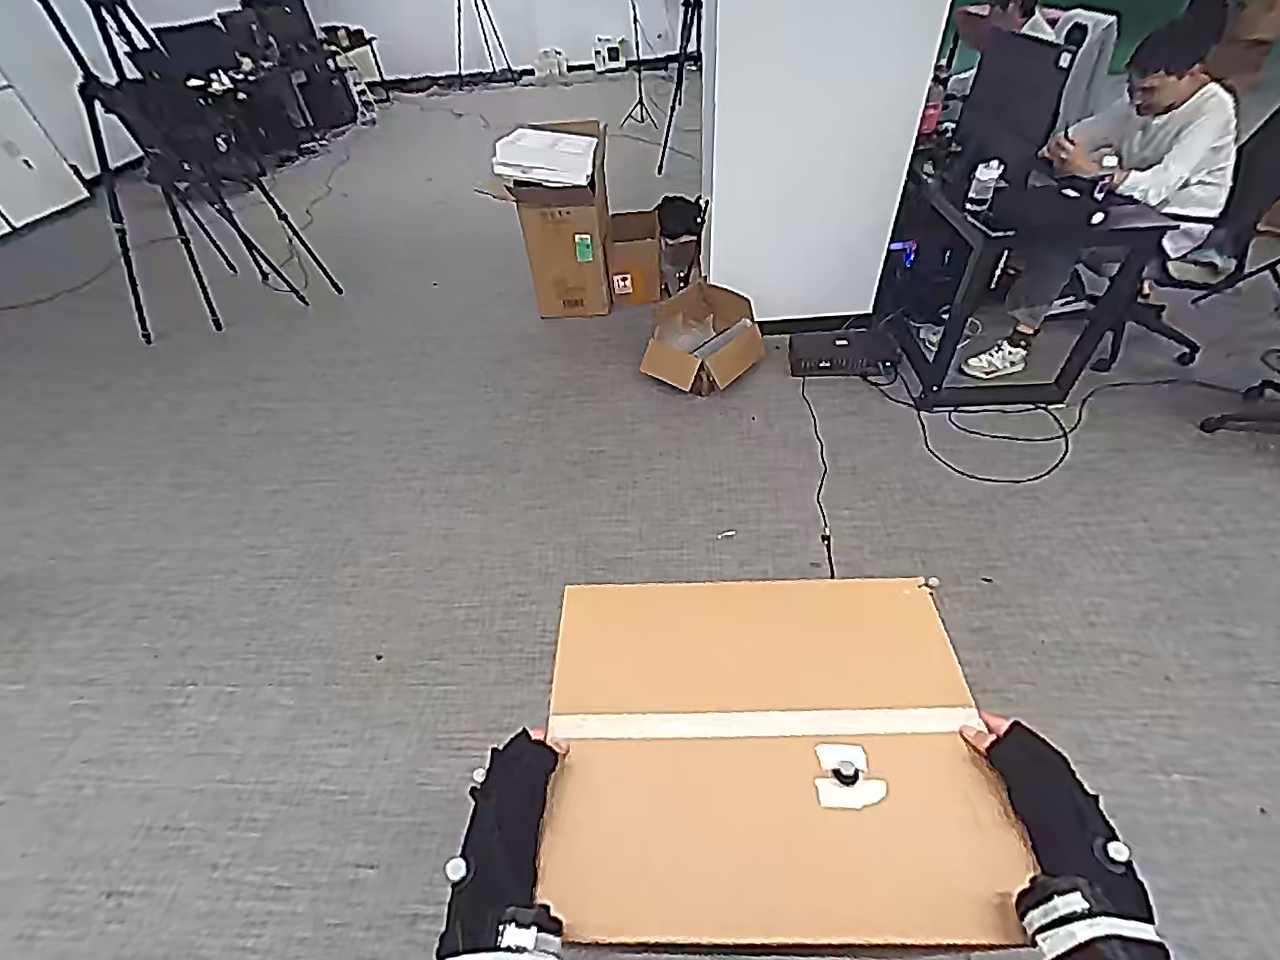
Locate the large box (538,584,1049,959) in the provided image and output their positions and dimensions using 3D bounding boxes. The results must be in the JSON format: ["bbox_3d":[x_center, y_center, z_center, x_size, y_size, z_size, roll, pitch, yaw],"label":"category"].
[{"bbox_3d":[0.121,0.339,0.624,0.408,0.320,0.320,-2,47,2],"label":"large box"}]
